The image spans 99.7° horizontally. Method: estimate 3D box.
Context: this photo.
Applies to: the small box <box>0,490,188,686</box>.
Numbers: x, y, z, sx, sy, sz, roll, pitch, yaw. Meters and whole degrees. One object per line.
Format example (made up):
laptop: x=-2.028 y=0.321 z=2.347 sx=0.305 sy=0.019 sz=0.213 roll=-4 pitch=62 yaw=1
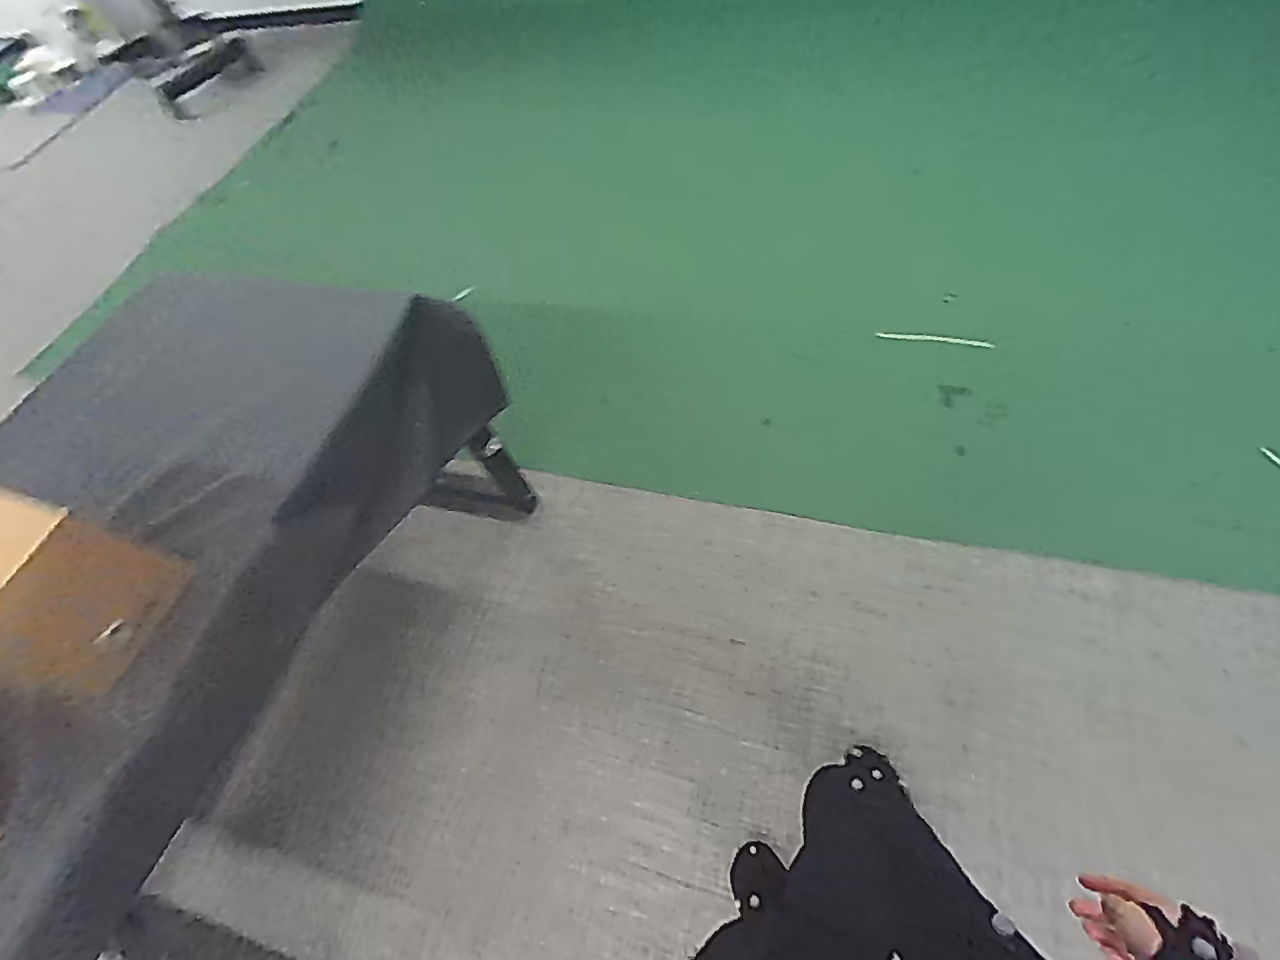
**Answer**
small box: x=-0.690 y=0.122 z=0.615 sx=0.179 sy=0.176 sz=0.168 roll=11 pitch=64 yaw=15
